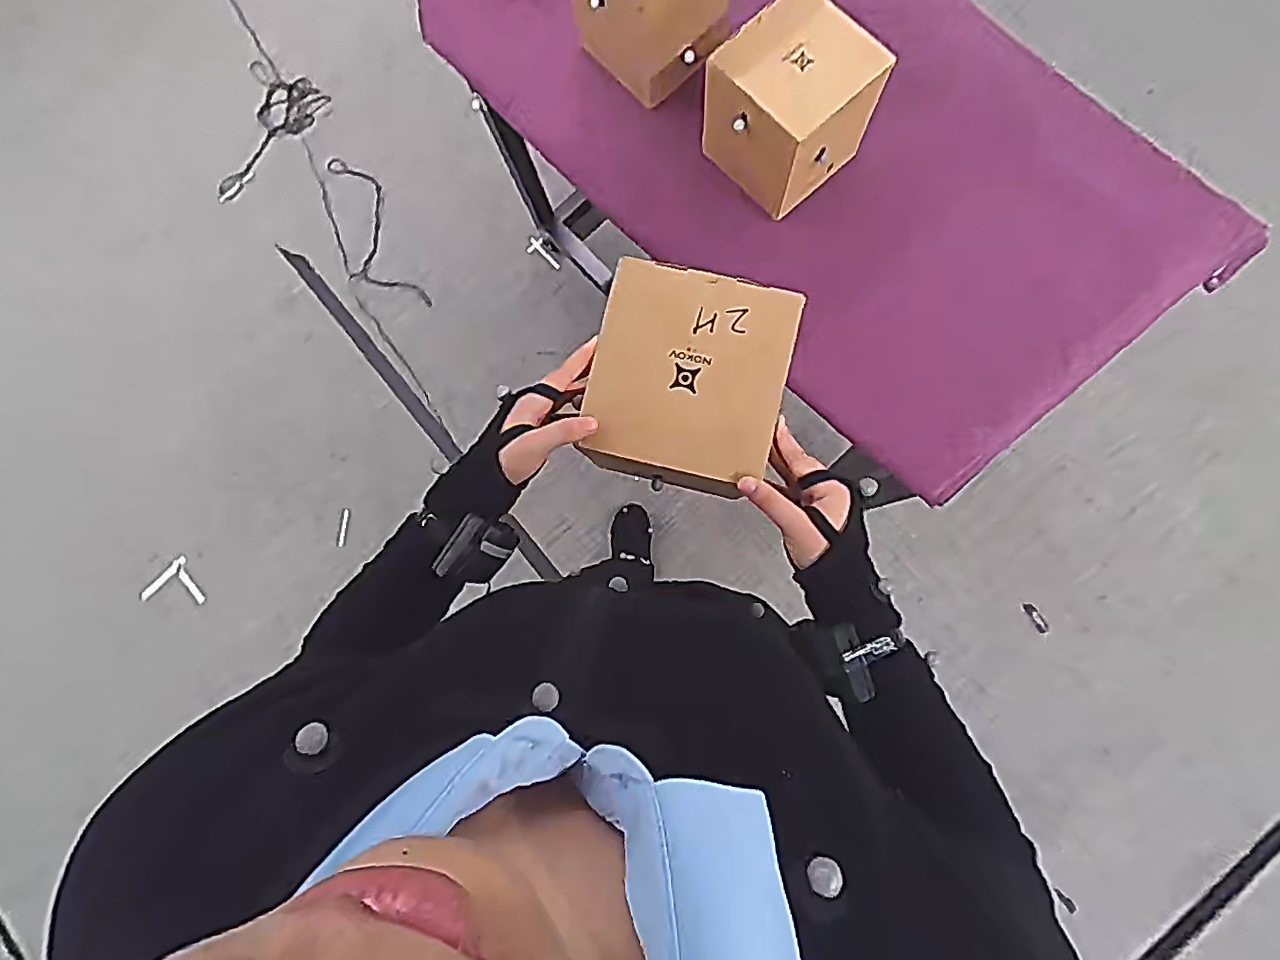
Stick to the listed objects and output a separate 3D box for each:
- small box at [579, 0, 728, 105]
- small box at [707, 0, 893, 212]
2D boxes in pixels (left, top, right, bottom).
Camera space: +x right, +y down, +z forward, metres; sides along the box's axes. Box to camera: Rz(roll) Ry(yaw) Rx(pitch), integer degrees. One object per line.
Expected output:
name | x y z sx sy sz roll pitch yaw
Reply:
small box | 0.017 -0.723 0.812 0.168 0.176 0.179 -42 81 -1
small box | 0.212 -0.520 0.768 0.168 0.176 0.179 -41 80 -1
